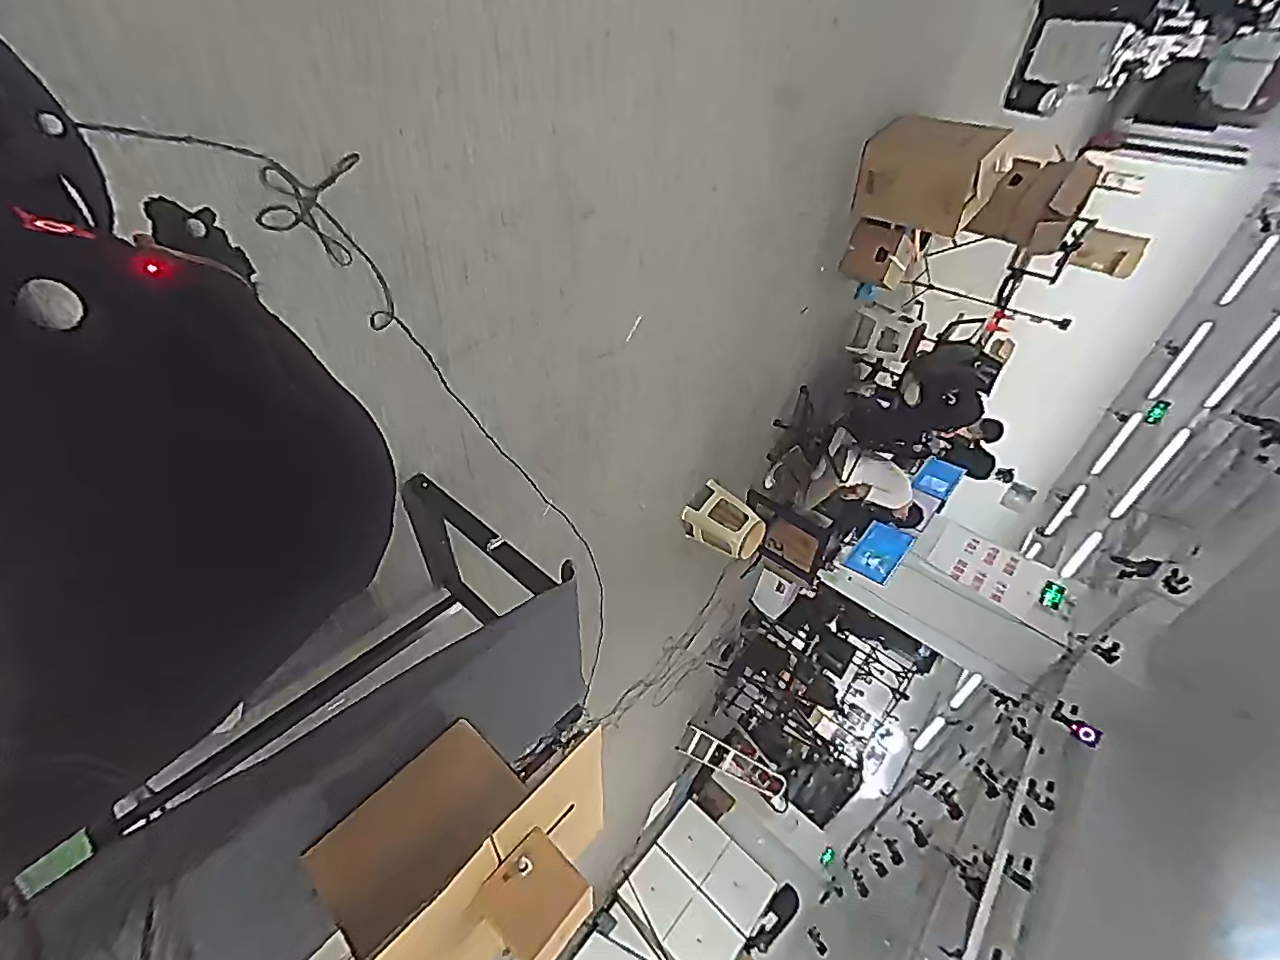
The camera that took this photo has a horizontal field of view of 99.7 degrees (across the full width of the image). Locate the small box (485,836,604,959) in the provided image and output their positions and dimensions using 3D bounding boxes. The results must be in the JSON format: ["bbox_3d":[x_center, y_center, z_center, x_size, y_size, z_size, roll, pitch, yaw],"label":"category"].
[{"bbox_3d":[-0.190,0.875,1.100,0.168,0.176,0.179,-37,141,-37],"label":"small box"}]
